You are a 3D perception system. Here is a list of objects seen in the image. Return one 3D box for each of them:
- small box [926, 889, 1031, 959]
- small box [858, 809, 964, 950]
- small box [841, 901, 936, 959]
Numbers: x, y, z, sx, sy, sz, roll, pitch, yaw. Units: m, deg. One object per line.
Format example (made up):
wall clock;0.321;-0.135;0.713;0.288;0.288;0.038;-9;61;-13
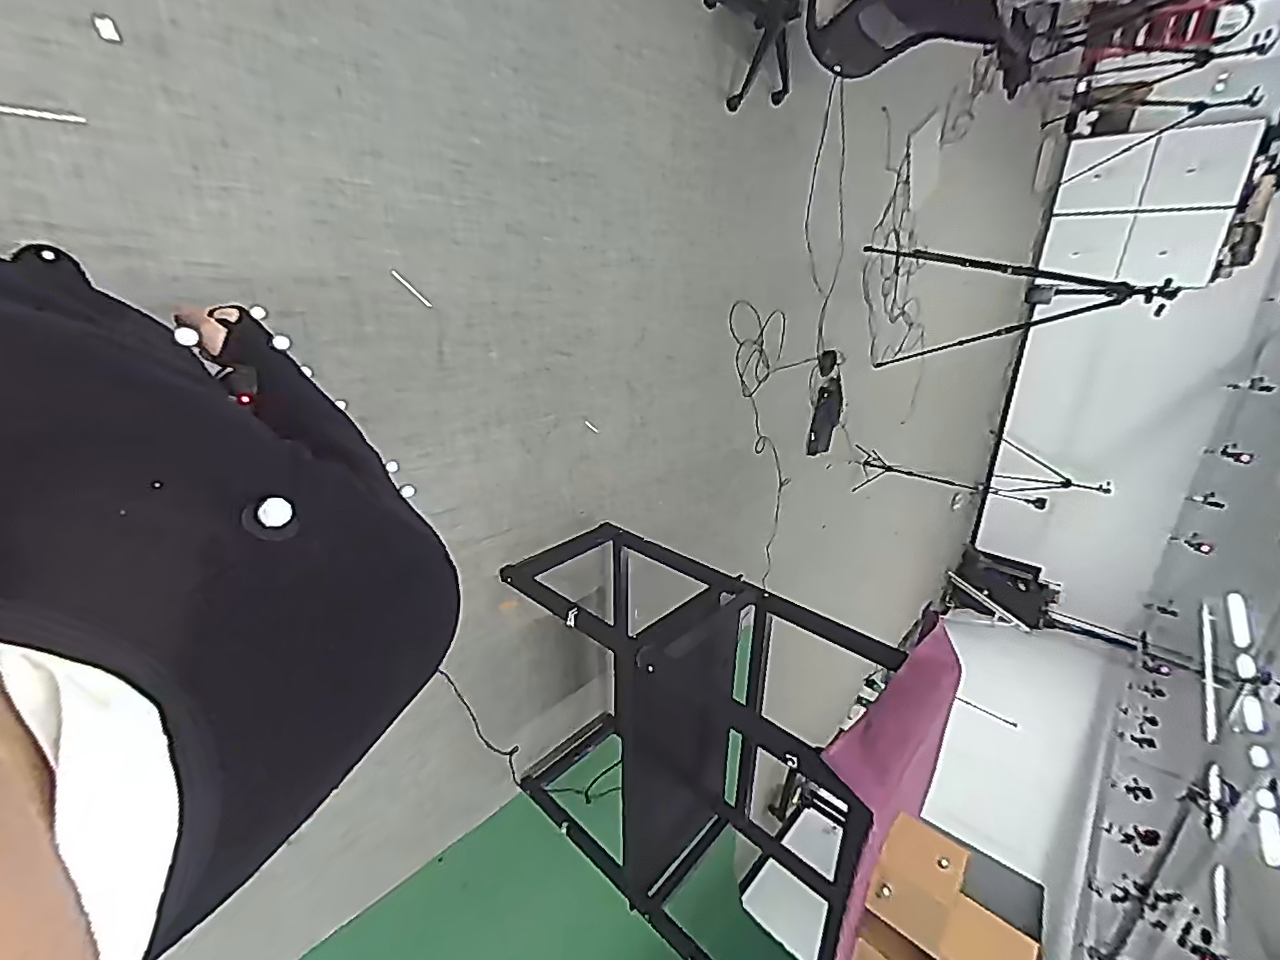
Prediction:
small box;0.768;1.114;1.245;0.179;0.176;0.168;-19;119;-45
small box;0.650;0.946;1.302;0.179;0.176;0.168;-16;116;-45
small box;0.643;1.206;1.397;0.179;0.176;0.168;-18;117;-44
